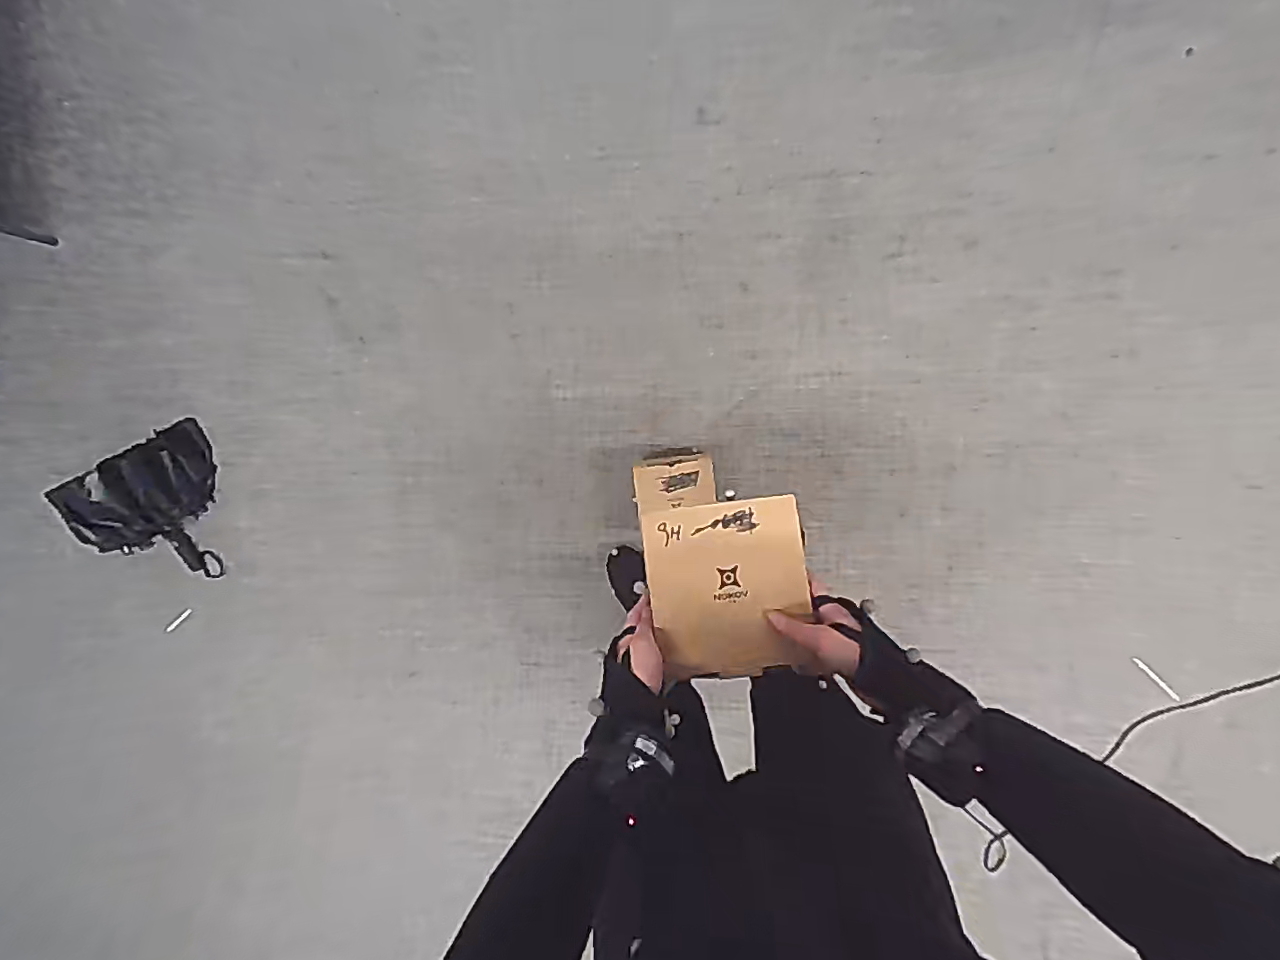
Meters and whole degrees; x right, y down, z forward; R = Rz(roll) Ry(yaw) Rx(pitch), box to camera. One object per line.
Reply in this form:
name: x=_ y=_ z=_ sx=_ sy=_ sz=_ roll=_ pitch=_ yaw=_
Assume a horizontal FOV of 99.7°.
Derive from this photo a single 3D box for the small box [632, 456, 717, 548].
small box: x=0.078 y=0.042 z=1.206 sx=0.168 sy=0.176 sz=0.179 roll=-7 pitch=97 yaw=6
